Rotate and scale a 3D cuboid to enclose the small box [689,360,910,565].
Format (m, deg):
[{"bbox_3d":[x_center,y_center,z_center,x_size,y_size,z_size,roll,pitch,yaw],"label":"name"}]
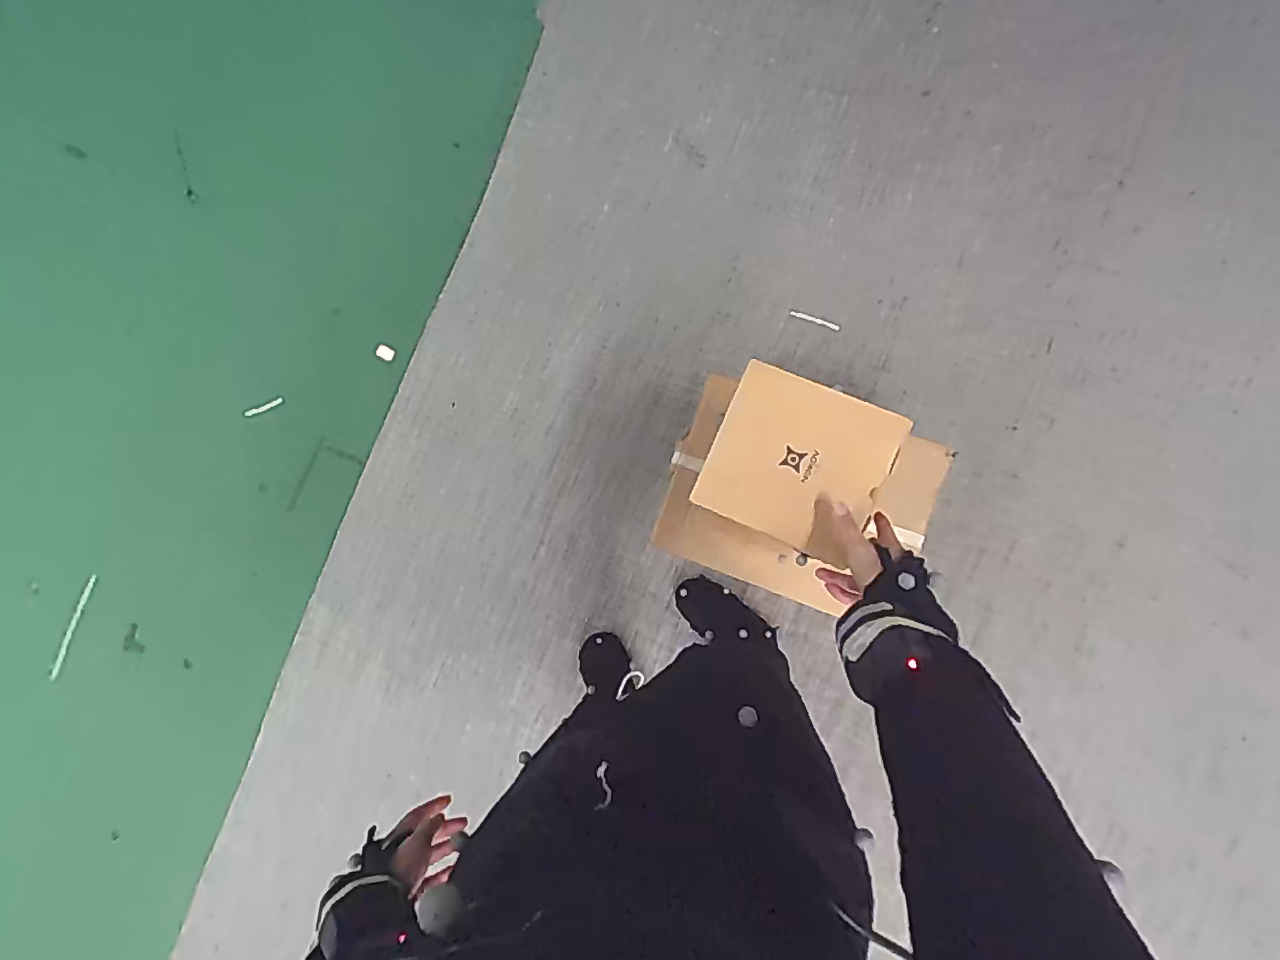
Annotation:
[{"bbox_3d":[0.173,-0.014,0.632,0.179,0.176,0.168,24,90,10],"label":"small box"}]

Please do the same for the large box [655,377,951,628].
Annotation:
[{"bbox_3d":[0.278,0.038,1.024,0.408,0.320,0.320,20,91,10],"label":"large box"}]
